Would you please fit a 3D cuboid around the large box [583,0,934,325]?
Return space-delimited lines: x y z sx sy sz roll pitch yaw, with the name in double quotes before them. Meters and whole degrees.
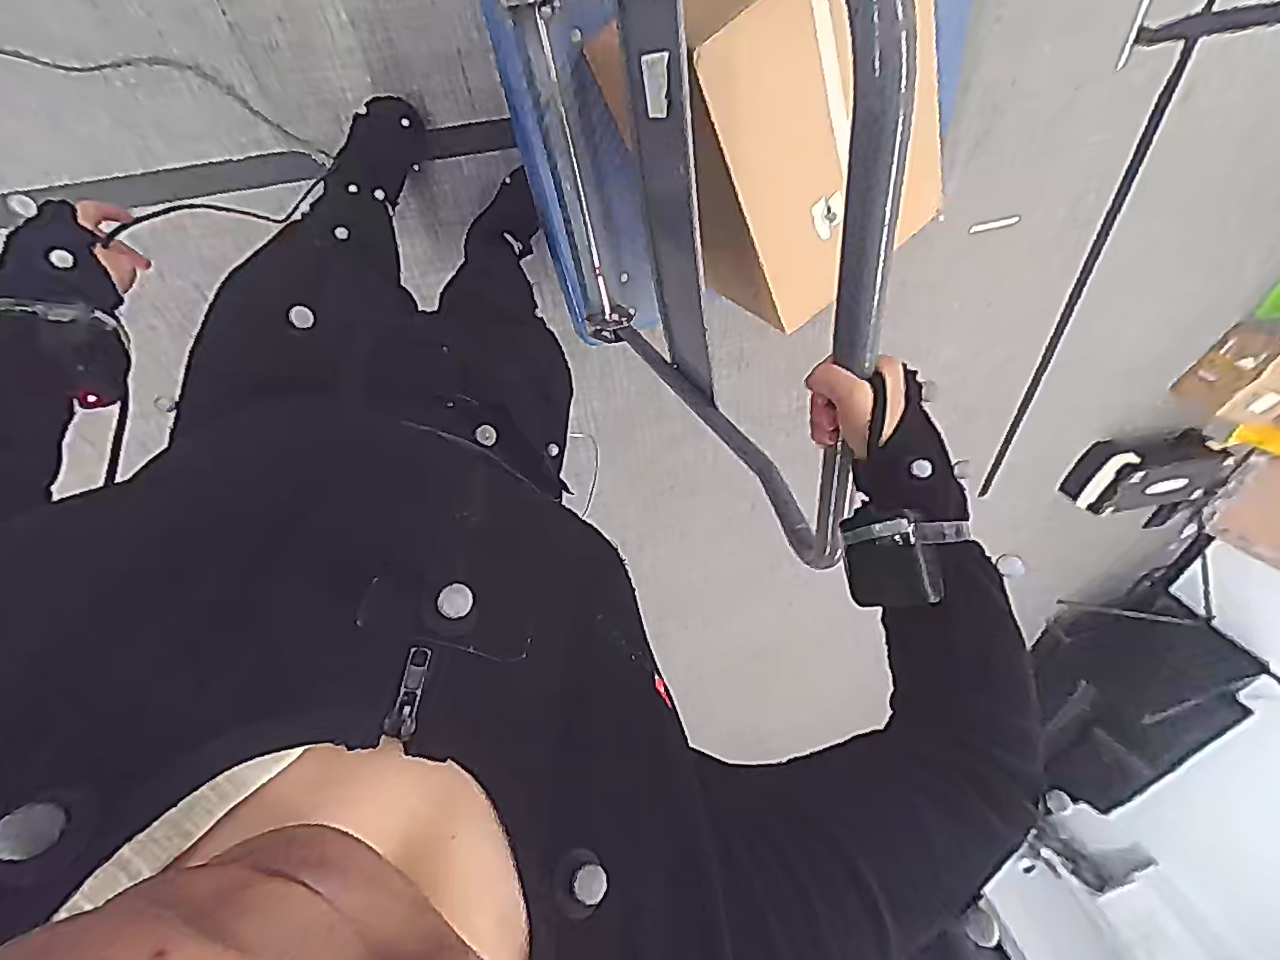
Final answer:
"large box" 0.185 -0.523 0.800 0.320 0.320 0.408 -39 137 1
